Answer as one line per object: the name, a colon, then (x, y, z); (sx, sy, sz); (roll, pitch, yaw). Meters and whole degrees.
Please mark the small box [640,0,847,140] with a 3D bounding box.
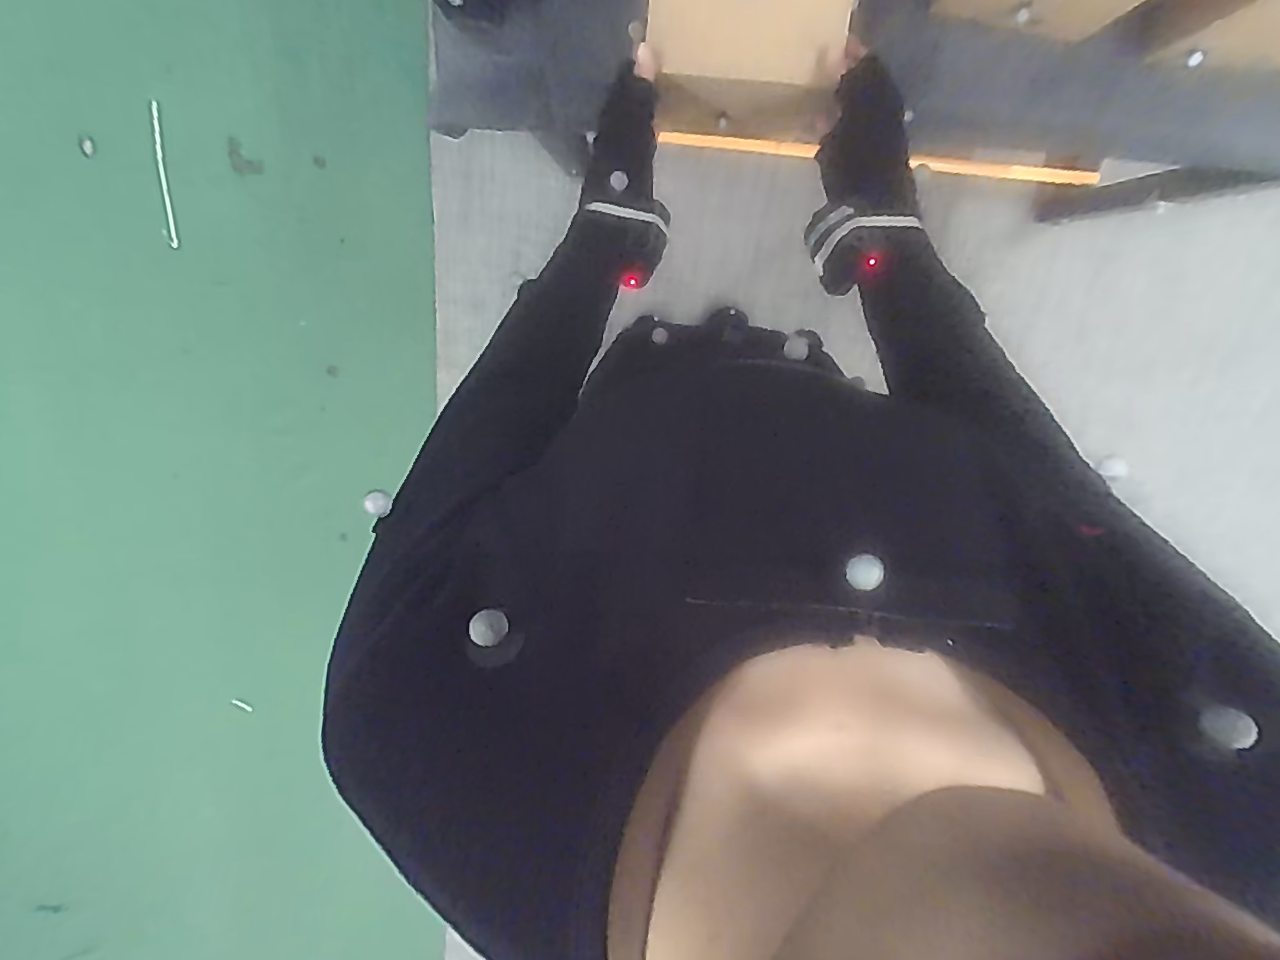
small box: (0.091, -0.438, 0.501); (0.168, 0.176, 0.179); (4, 108, 0)
